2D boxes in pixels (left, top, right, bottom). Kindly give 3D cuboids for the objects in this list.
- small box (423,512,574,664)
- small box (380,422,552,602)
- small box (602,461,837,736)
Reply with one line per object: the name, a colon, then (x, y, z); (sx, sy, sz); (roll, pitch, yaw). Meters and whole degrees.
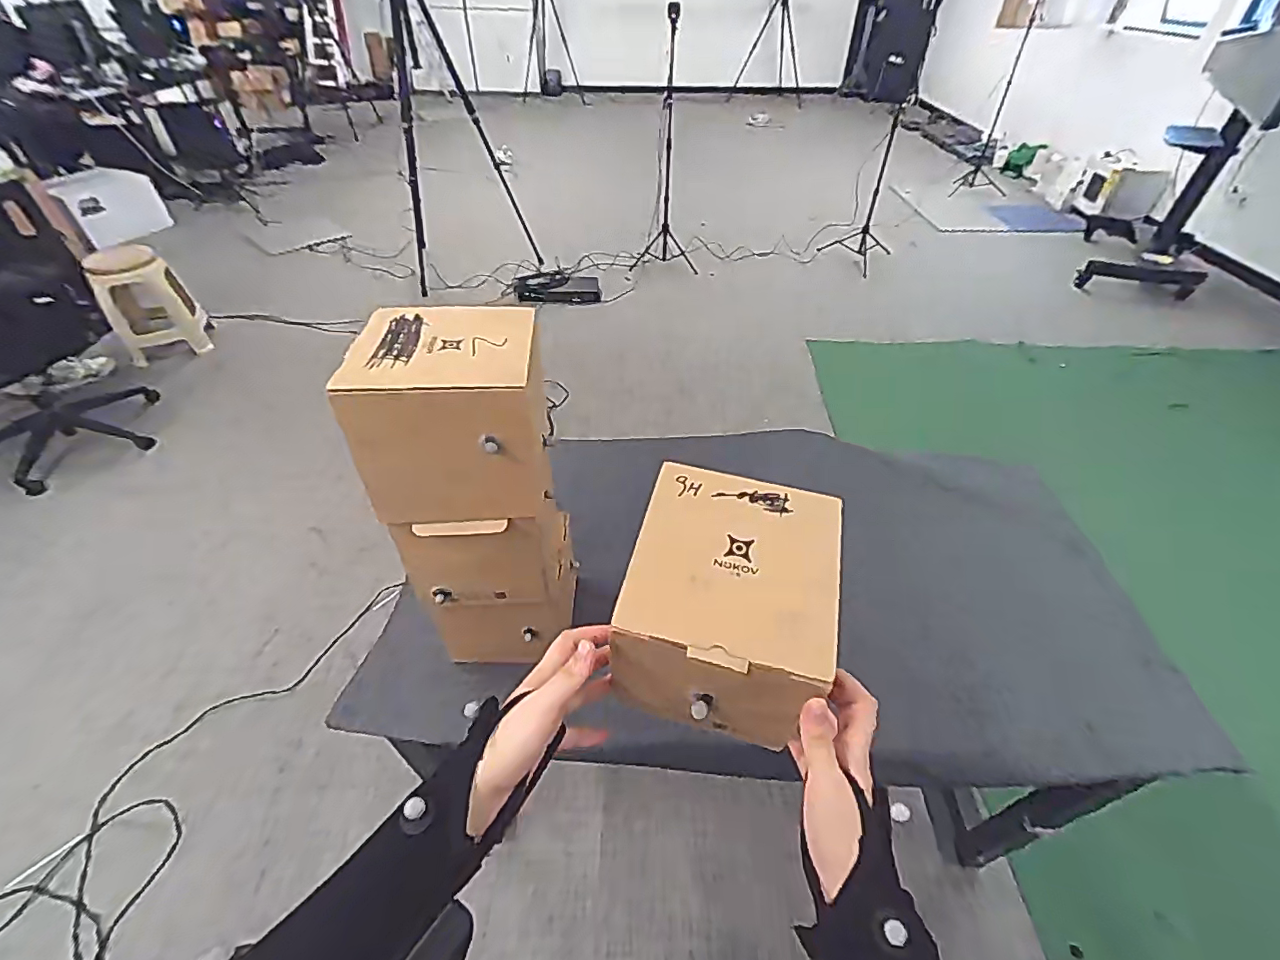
small box: (-0.197, 0.164, 0.818); (0.179, 0.176, 0.168); (-1, 42, 0)
small box: (-0.208, 0.045, 0.704); (0.168, 0.176, 0.179); (-3, 42, -4)
small box: (0.074, 0.113, 0.500); (0.168, 0.176, 0.179); (12, 52, 10)
